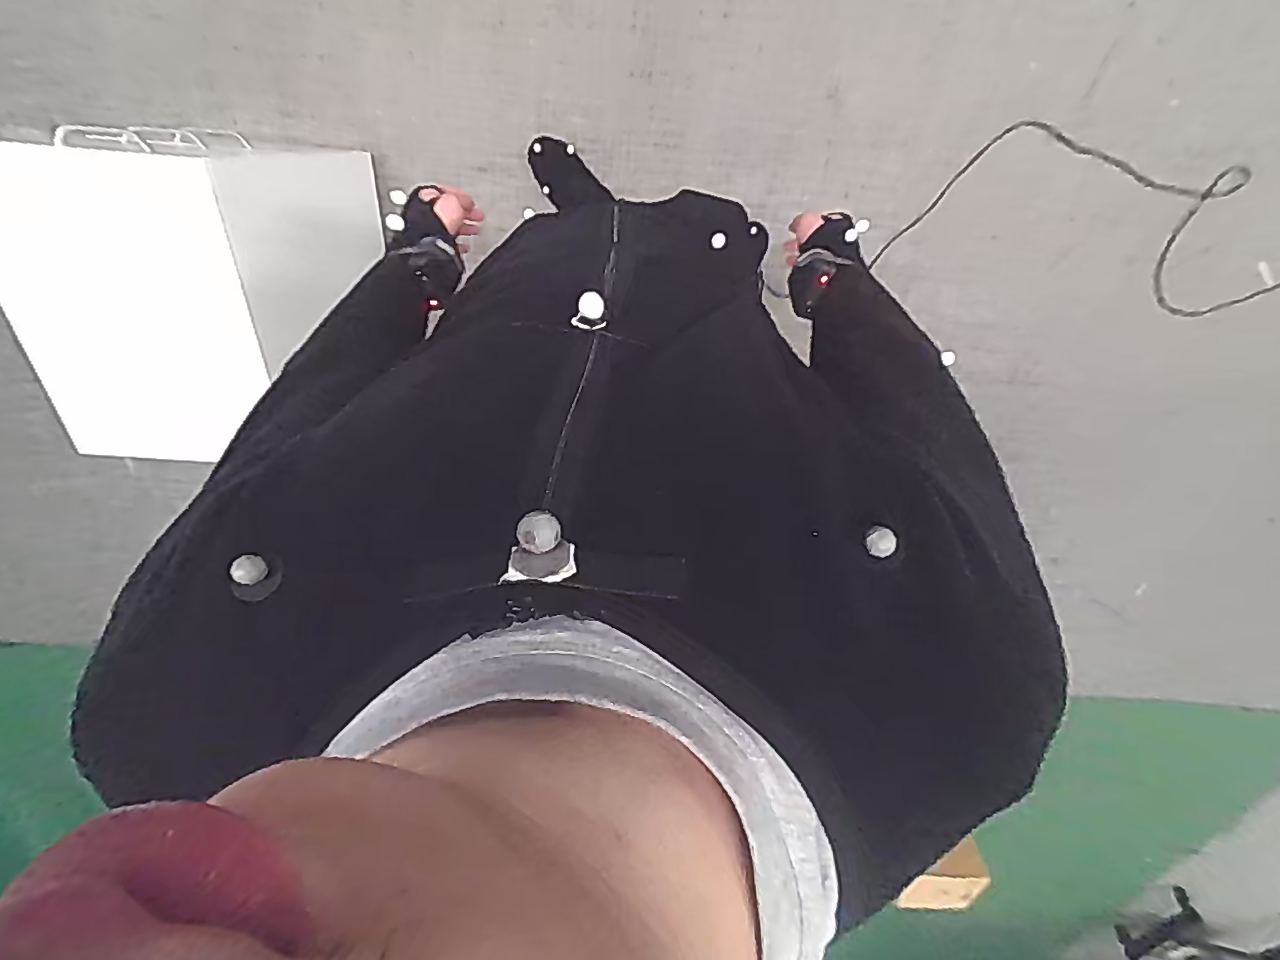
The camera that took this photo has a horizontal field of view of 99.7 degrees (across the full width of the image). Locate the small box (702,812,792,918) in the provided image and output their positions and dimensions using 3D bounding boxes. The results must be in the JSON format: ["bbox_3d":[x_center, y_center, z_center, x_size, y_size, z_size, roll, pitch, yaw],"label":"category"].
[{"bbox_3d":[0.253,0.946,1.336,0.179,0.176,0.168,3,122,-4],"label":"small box"}]

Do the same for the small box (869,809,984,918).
[{"bbox_3d":[0.693,0.942,1.336,0.179,0.176,0.168,4,122,-1],"label":"small box"}]
